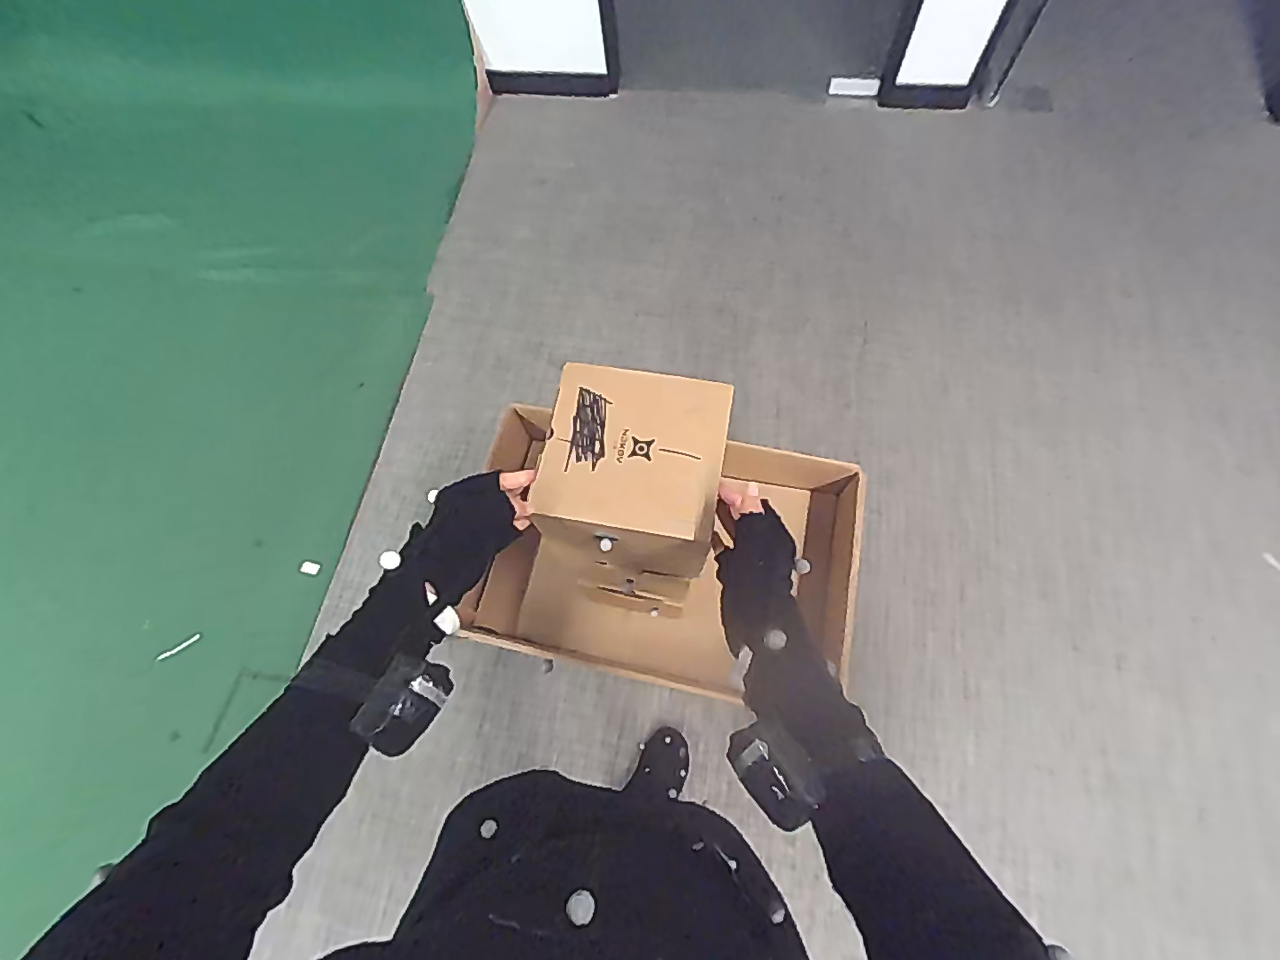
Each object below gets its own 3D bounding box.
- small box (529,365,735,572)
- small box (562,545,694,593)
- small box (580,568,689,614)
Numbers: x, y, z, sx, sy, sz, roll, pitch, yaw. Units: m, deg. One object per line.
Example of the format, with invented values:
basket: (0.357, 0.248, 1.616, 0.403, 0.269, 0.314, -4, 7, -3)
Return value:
small box: (-0.002, -0.003, 0.596, 0.179, 0.176, 0.168, 9, 71, 5)
small box: (0.005, 0.051, 0.752, 0.168, 0.176, 0.179, 11, 71, 6)
small box: (0.009, 0.116, 0.902, 0.168, 0.176, 0.179, 10, 69, 6)
